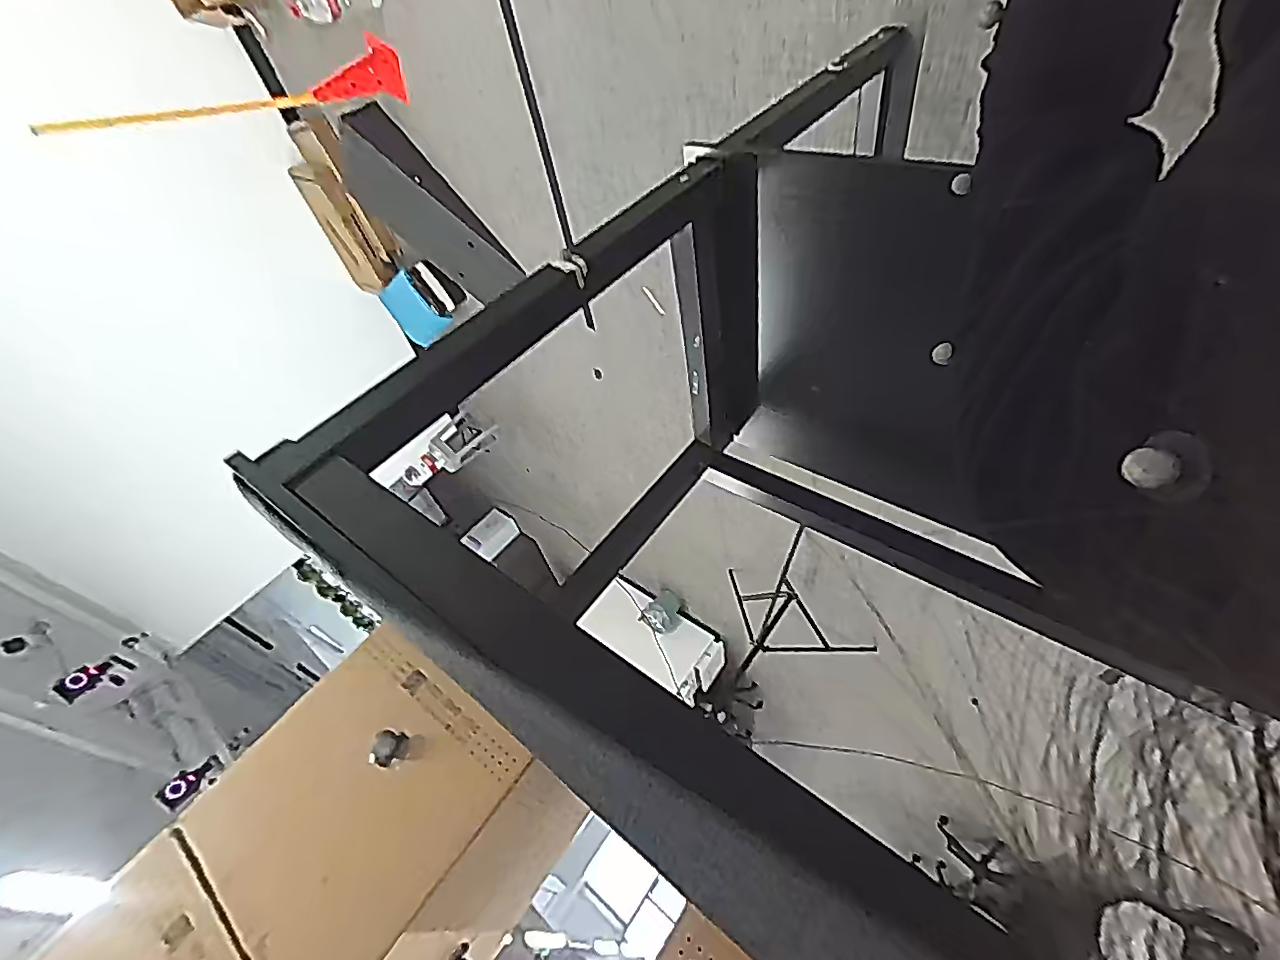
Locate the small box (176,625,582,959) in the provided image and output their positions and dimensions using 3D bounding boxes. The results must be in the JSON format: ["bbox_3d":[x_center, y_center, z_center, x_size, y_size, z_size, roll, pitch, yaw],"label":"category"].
[{"bbox_3d":[-0.165,0.242,0.398,0.168,0.176,0.179,26,150,29],"label":"small box"}]

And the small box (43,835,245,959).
[{"bbox_3d":[-0.266,0.351,0.328,0.168,0.176,0.179,27,150,28],"label":"small box"}]
